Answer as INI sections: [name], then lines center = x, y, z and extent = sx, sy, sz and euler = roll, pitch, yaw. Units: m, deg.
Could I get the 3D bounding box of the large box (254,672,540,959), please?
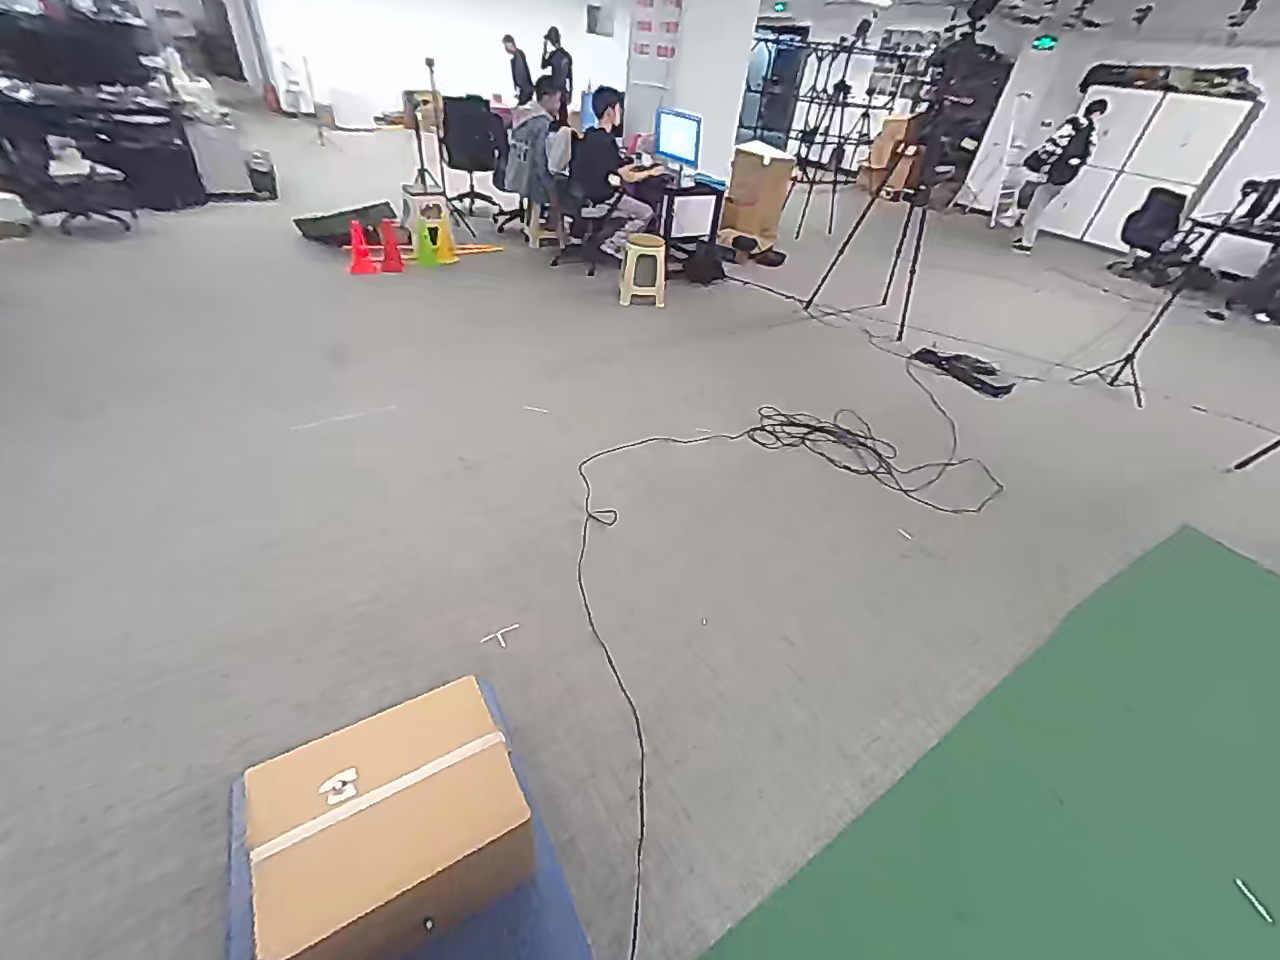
[large box]
center = -0.435, 0.651, 1.027
extent = 0.408, 0.320, 0.320
euler = -17, 44, -27
